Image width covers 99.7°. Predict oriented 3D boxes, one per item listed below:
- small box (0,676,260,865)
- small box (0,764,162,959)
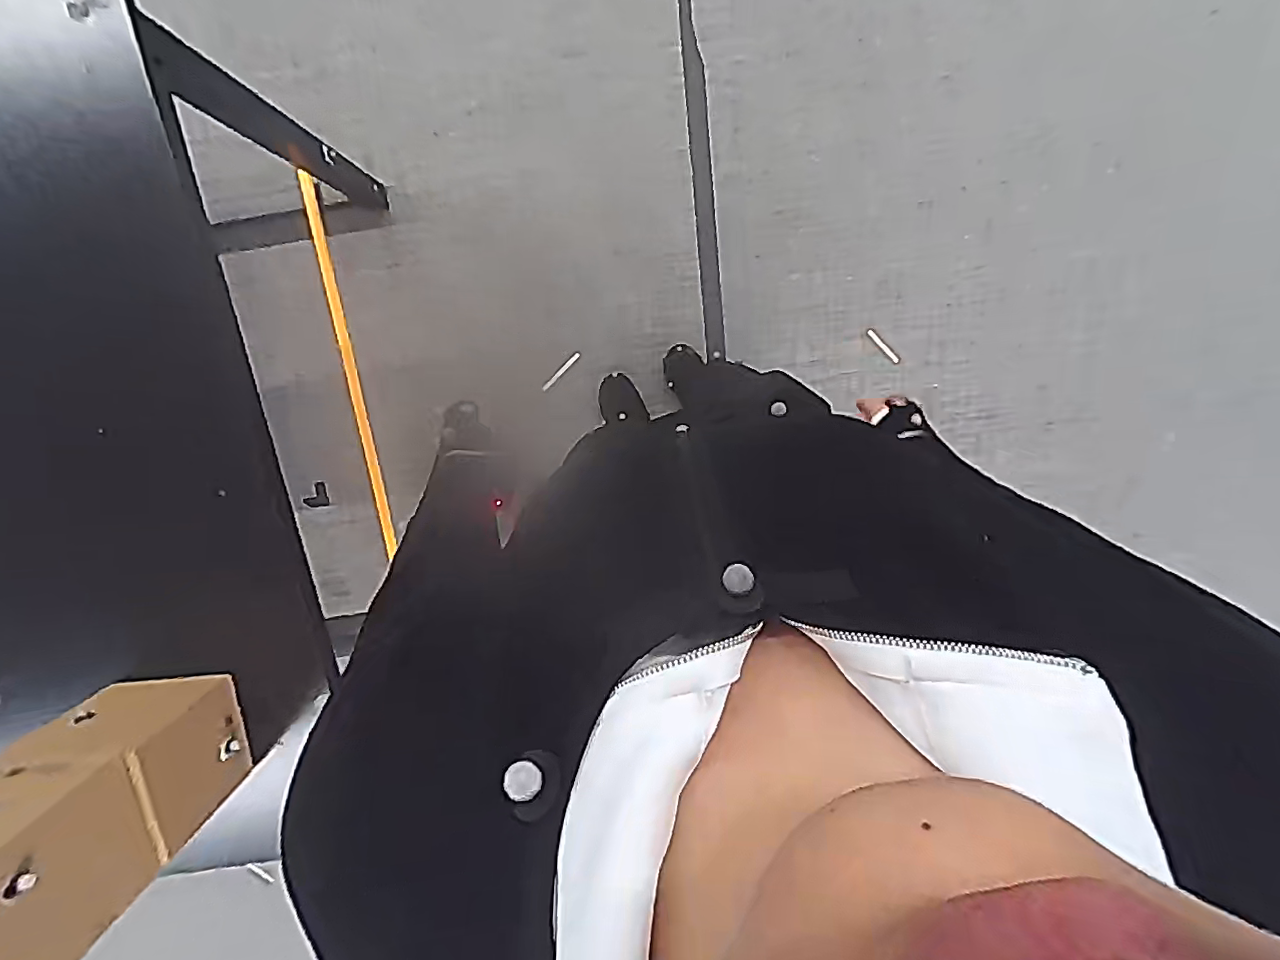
[{"bbox_3d":[-0.673,0.390,0.737,0.179,0.176,0.168,-5,103,-1],"label":"small box"},{"bbox_3d":[-0.676,0.431,0.577,0.168,0.176,0.179,-5,103,1],"label":"small box"}]
